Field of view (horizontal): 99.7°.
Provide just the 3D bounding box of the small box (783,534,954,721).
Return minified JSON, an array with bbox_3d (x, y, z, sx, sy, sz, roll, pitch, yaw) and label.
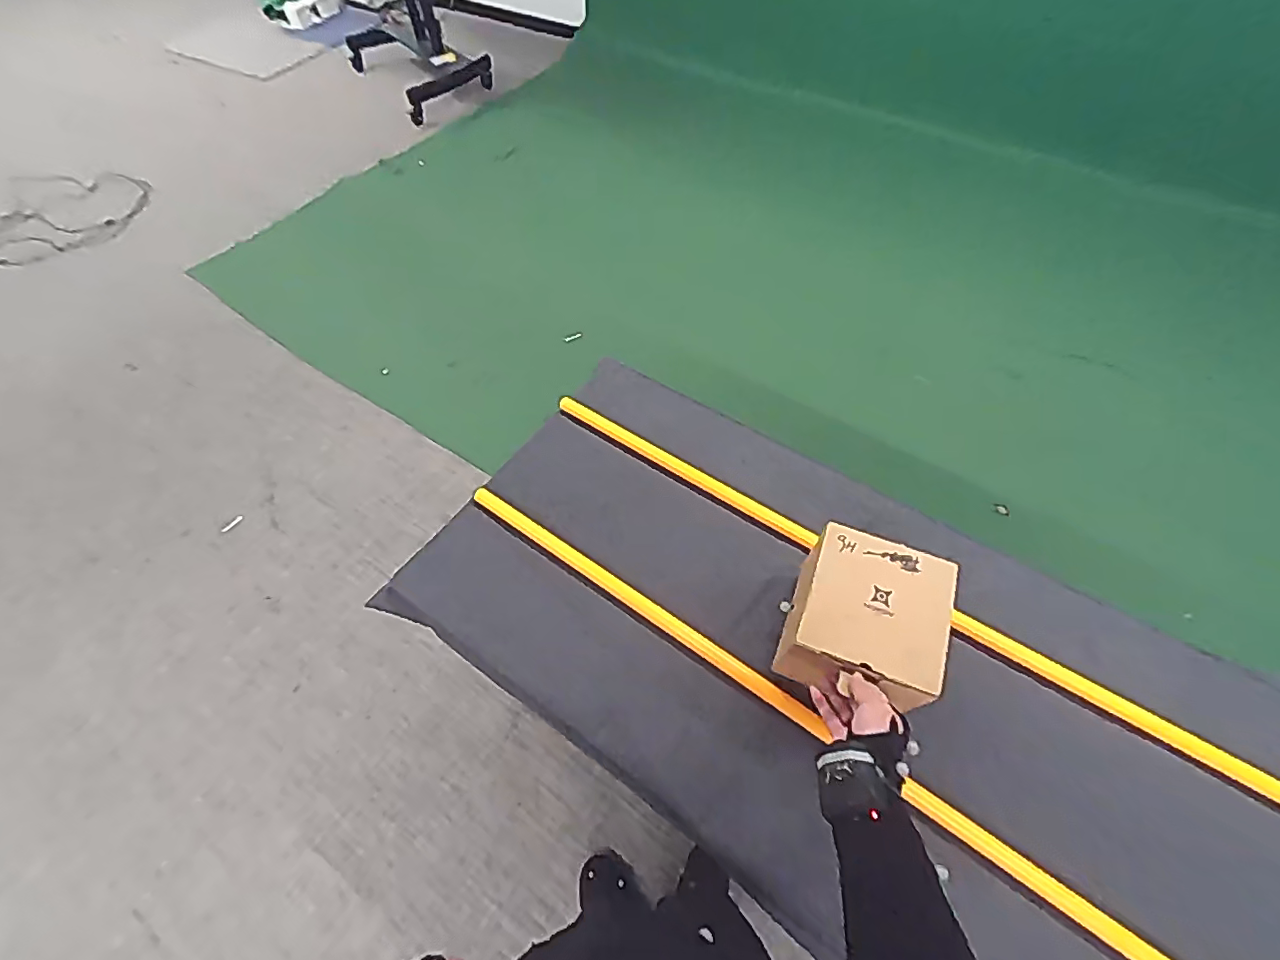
[{"bbox_3d":[0.297,0.204,0.730,0.168,0.176,0.179,15,60,14],"label":"small box"}]
